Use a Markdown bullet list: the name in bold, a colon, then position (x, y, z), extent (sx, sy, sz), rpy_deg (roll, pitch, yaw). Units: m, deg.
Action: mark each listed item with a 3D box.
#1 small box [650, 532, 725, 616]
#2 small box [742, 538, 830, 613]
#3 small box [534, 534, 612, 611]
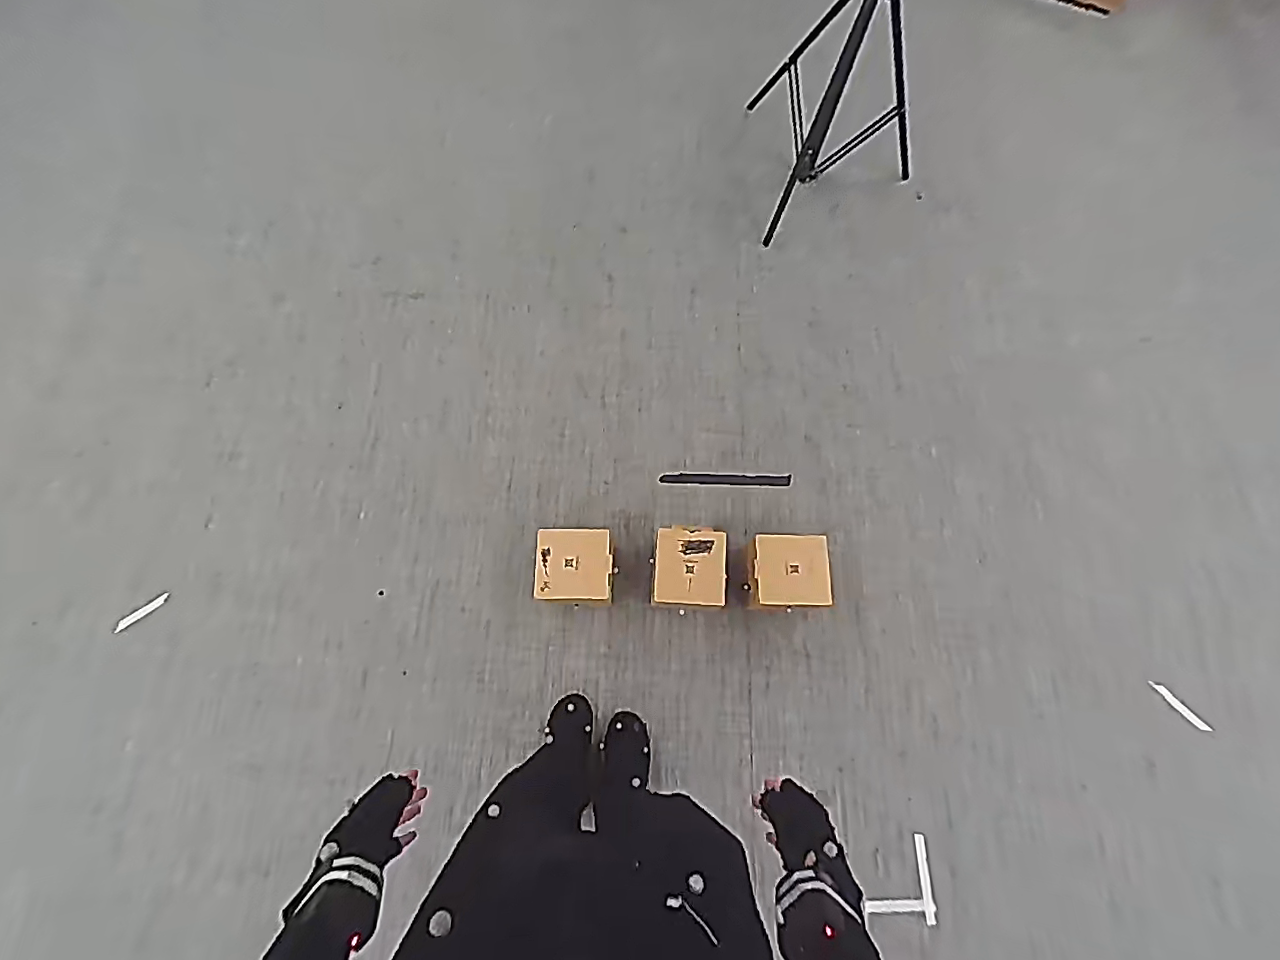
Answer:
- **small box**: position (0.114, 0.237, 1.342), extent (0.168, 0.176, 0.179), rpy_deg (4, 72, 0)
- **small box**: position (0.353, 0.243, 1.347), extent (0.179, 0.176, 0.168), rpy_deg (1, 73, -2)
- **small box**: position (-0.159, 0.233, 1.339), extent (0.179, 0.176, 0.168), rpy_deg (1, 72, -2)
